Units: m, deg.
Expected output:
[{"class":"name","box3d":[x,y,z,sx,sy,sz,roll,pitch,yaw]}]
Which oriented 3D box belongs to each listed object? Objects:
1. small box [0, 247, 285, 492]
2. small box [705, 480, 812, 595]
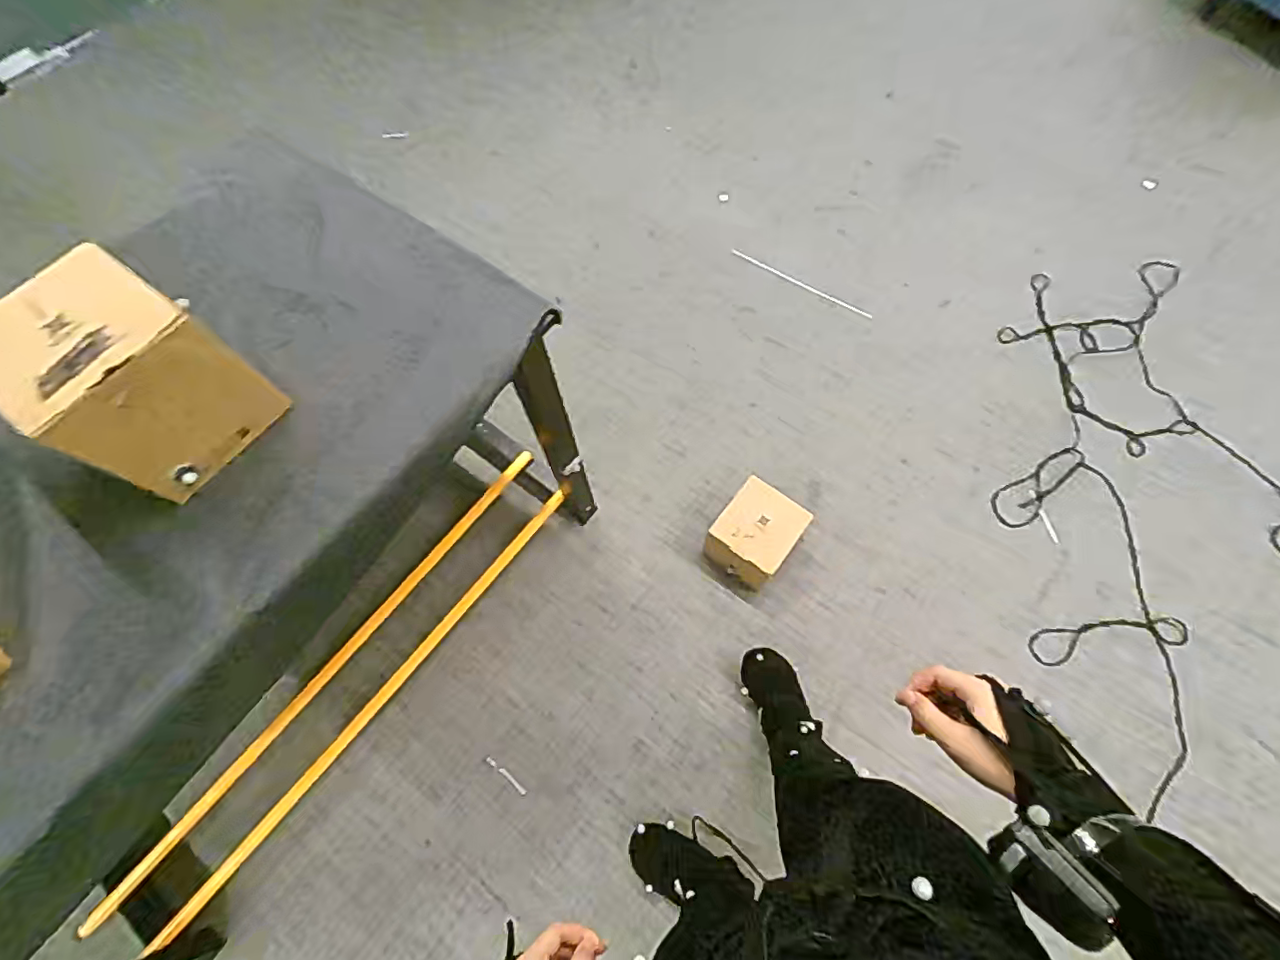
[{"class":"small box","box3d":[-0.546,-0.107,0.593,0.179,0.176,0.168,33,71,16]},{"class":"small box","box3d":[0.264,0.138,1.252,0.168,0.176,0.179,35,72,16]}]
